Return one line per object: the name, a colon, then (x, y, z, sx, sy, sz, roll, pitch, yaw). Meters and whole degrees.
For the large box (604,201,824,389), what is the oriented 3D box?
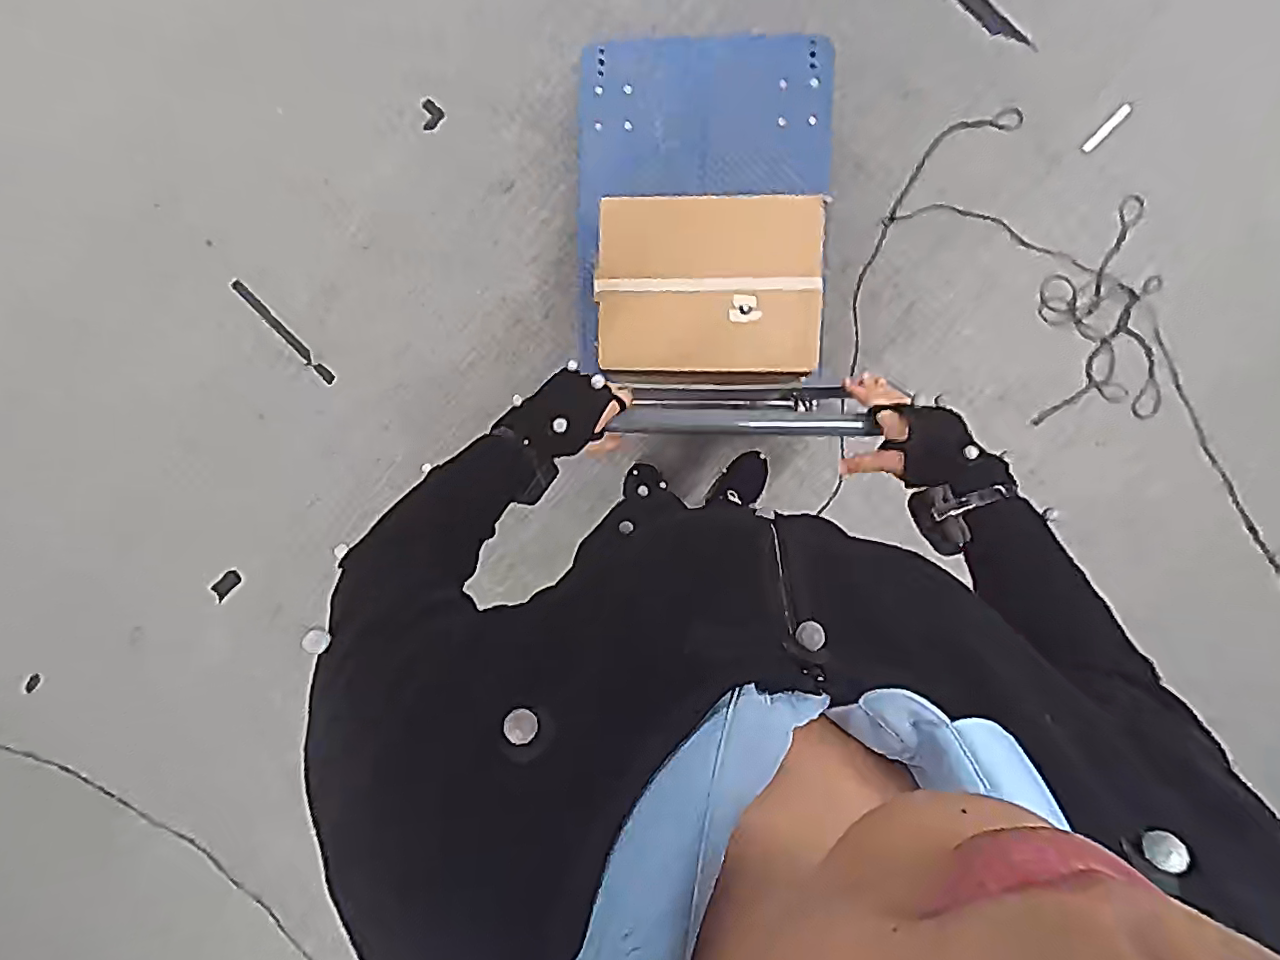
large box: (0.138, -0.362, 1.140, 0.408, 0.320, 0.320, 1, 95, 3)
